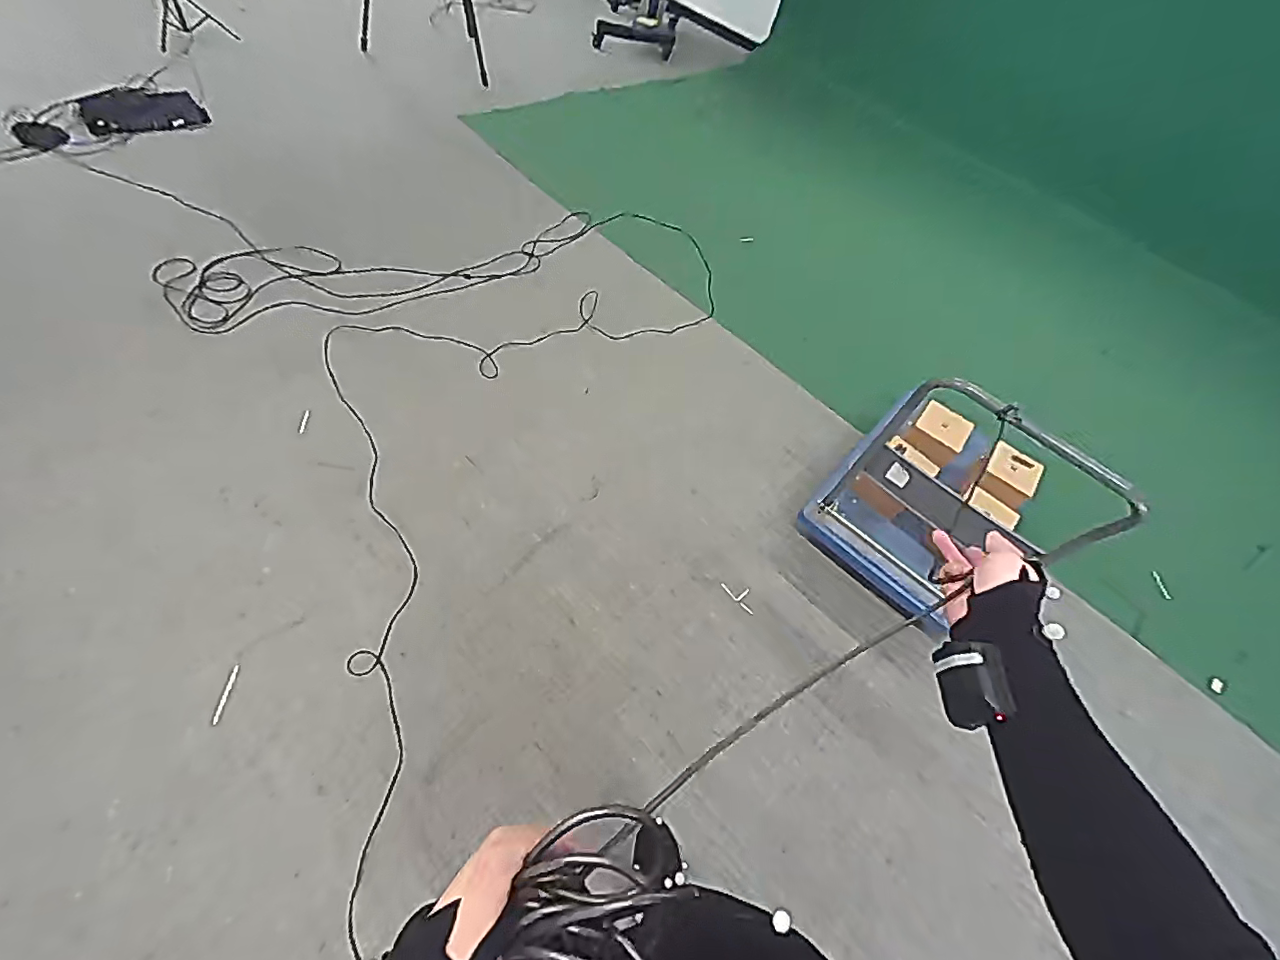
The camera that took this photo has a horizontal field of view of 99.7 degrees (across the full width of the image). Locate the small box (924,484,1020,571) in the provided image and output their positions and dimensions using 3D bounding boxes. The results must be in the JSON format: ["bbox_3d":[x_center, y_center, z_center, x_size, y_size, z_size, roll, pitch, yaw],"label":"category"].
[{"bbox_3d":[1.045,0.153,1.715,0.168,0.176,0.179,42,60,17],"label":"small box"}]

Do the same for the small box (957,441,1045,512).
[{"bbox_3d":[1.228,0.006,1.850,0.168,0.176,0.179,37,58,15],"label":"small box"}]

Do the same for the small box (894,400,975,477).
[{"bbox_3d":[1.034,-0.142,1.913,0.168,0.176,0.179,38,58,14],"label":"small box"}]
